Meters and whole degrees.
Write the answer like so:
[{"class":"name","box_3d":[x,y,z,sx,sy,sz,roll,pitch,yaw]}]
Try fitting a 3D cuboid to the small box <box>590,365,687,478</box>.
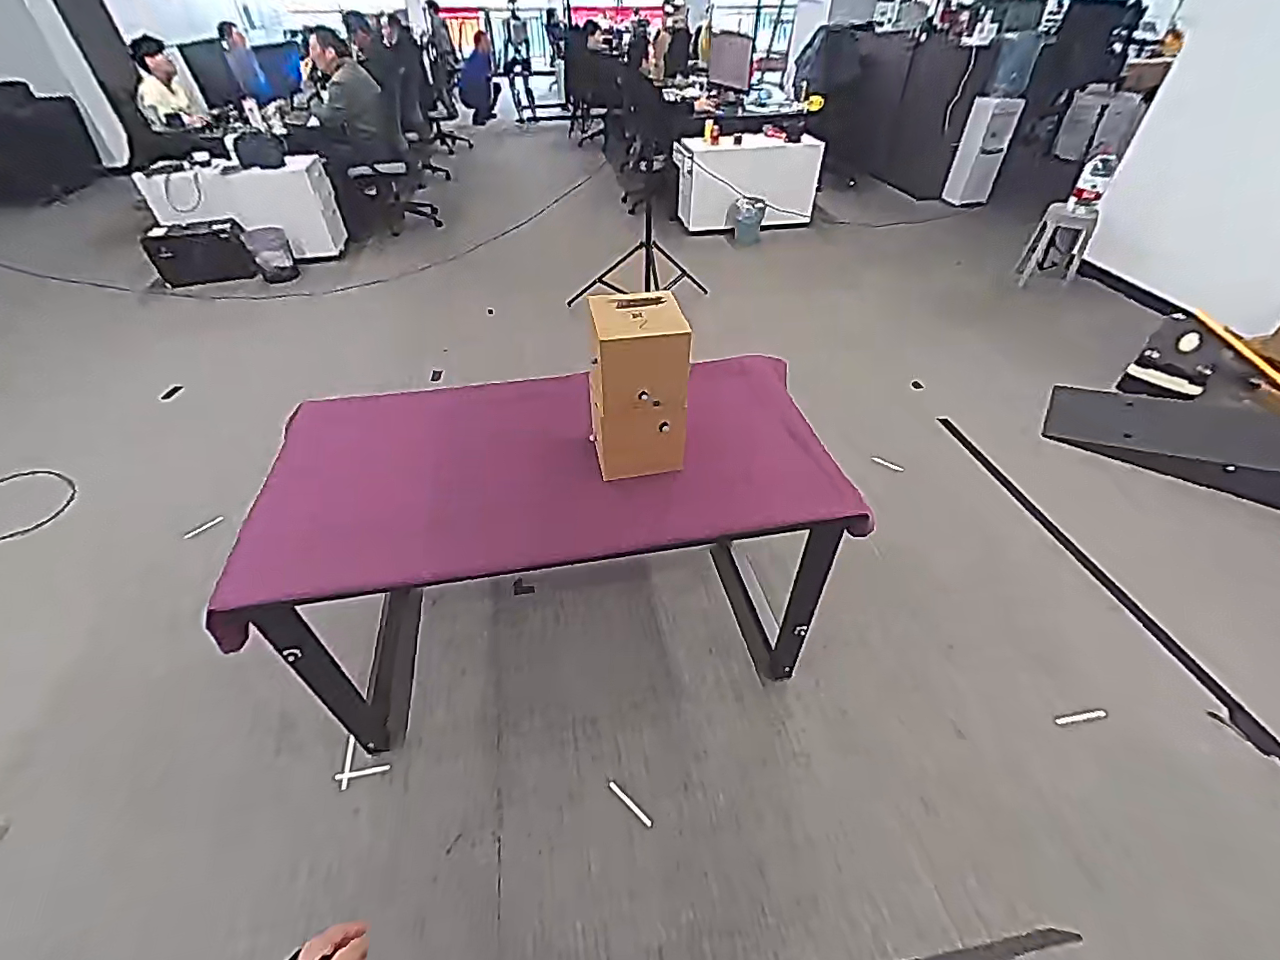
[{"class":"small box","box_3d":[-0.006,-0.124,1.159,0.179,0.176,0.168,-9,43,-8]}]
